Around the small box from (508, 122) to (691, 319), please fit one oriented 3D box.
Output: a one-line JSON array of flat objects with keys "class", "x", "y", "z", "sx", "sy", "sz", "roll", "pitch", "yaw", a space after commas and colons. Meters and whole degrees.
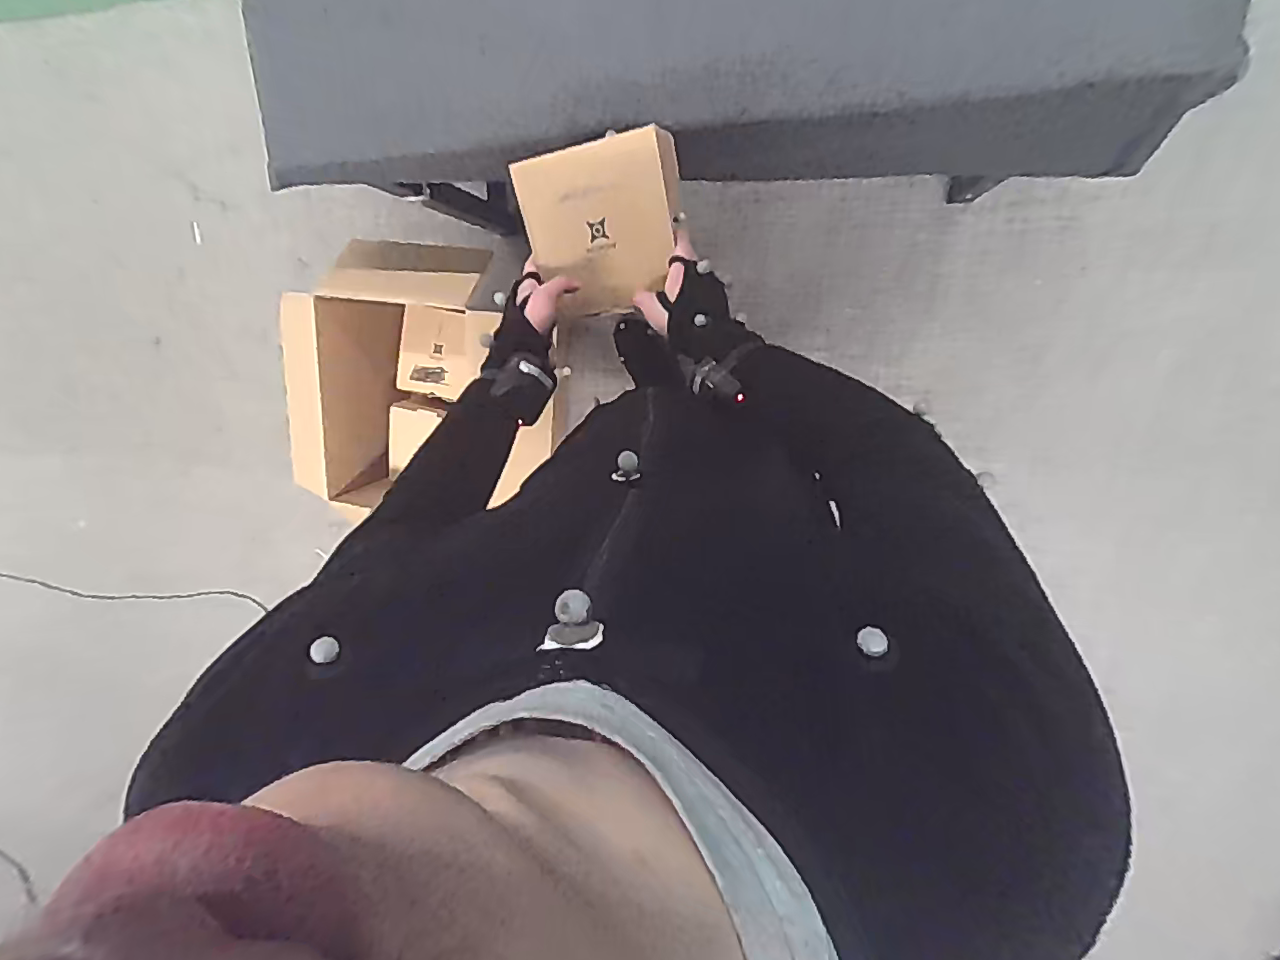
[{"class": "small box", "x": -0.035, "y": -0.319, "z": 0.673, "sx": 0.168, "sy": 0.176, "sz": 0.179, "roll": -7, "pitch": 117, "yaw": 14}]
